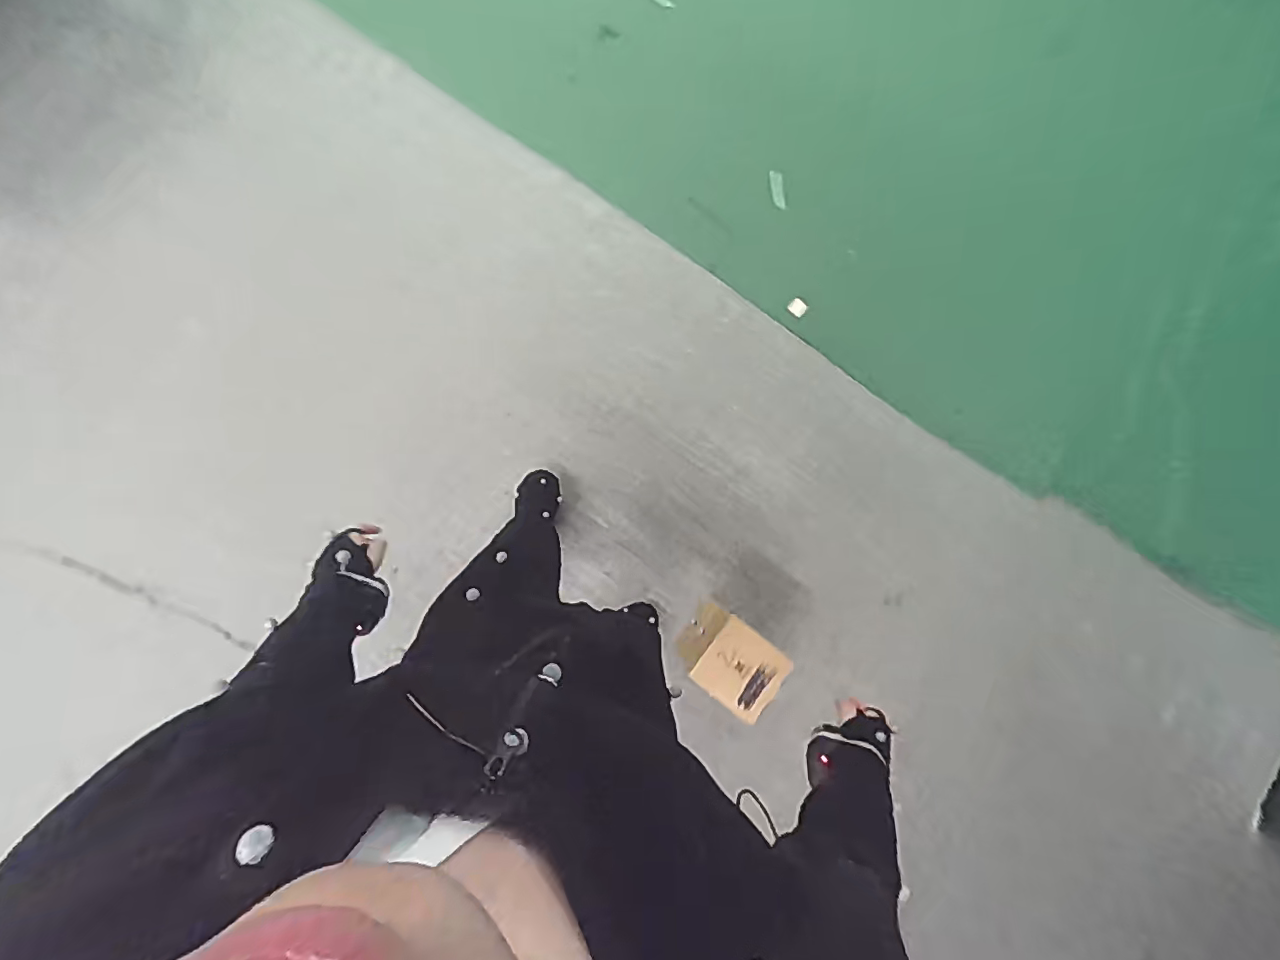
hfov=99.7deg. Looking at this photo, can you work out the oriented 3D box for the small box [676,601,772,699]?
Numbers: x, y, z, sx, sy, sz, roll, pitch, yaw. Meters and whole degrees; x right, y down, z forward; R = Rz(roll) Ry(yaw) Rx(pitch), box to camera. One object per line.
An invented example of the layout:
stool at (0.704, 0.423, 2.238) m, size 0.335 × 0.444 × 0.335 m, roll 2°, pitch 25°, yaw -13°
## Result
small box at (0.209, 0.432, 1.411) m, size 0.179 × 0.176 × 0.168 m, roll 37°, pitch 85°, yaw 2°
